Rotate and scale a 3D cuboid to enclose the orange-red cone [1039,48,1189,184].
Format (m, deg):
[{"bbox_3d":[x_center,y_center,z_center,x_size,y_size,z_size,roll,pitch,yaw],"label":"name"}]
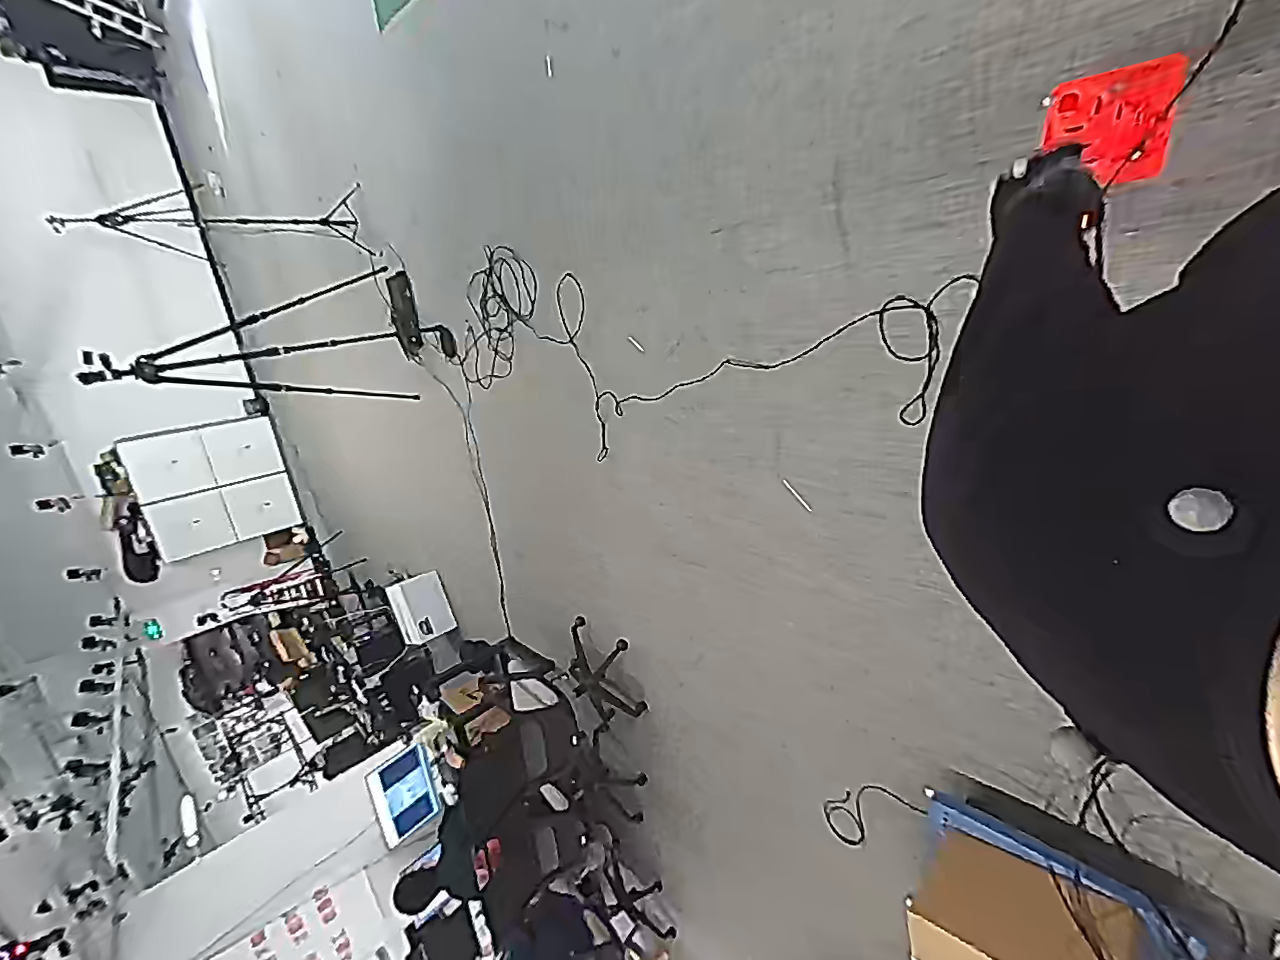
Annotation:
[{"bbox_3d":[0.787,-0.647,0.938,0.198,0.360,0.199,16,117,43],"label":"orange-red cone"}]
